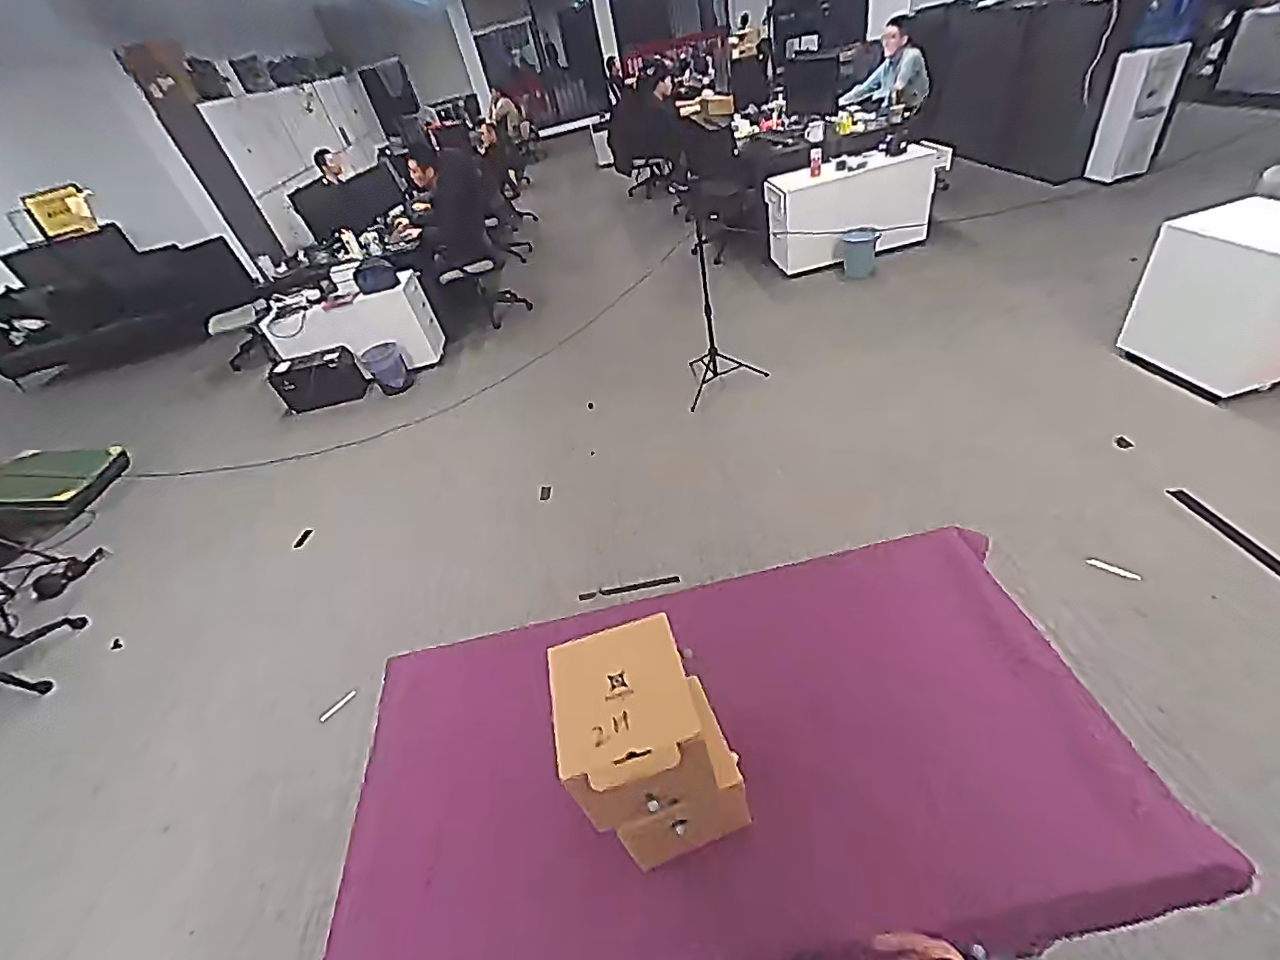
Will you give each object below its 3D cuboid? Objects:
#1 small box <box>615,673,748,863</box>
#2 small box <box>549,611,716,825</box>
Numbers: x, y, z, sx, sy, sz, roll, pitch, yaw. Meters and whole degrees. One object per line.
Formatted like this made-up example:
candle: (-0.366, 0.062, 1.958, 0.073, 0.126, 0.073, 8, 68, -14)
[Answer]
small box: (0.045, 0.428, 0.802, 0.179, 0.176, 0.168, -20, 40, -6)
small box: (-0.010, 0.308, 0.702, 0.168, 0.176, 0.179, -18, 40, -1)
